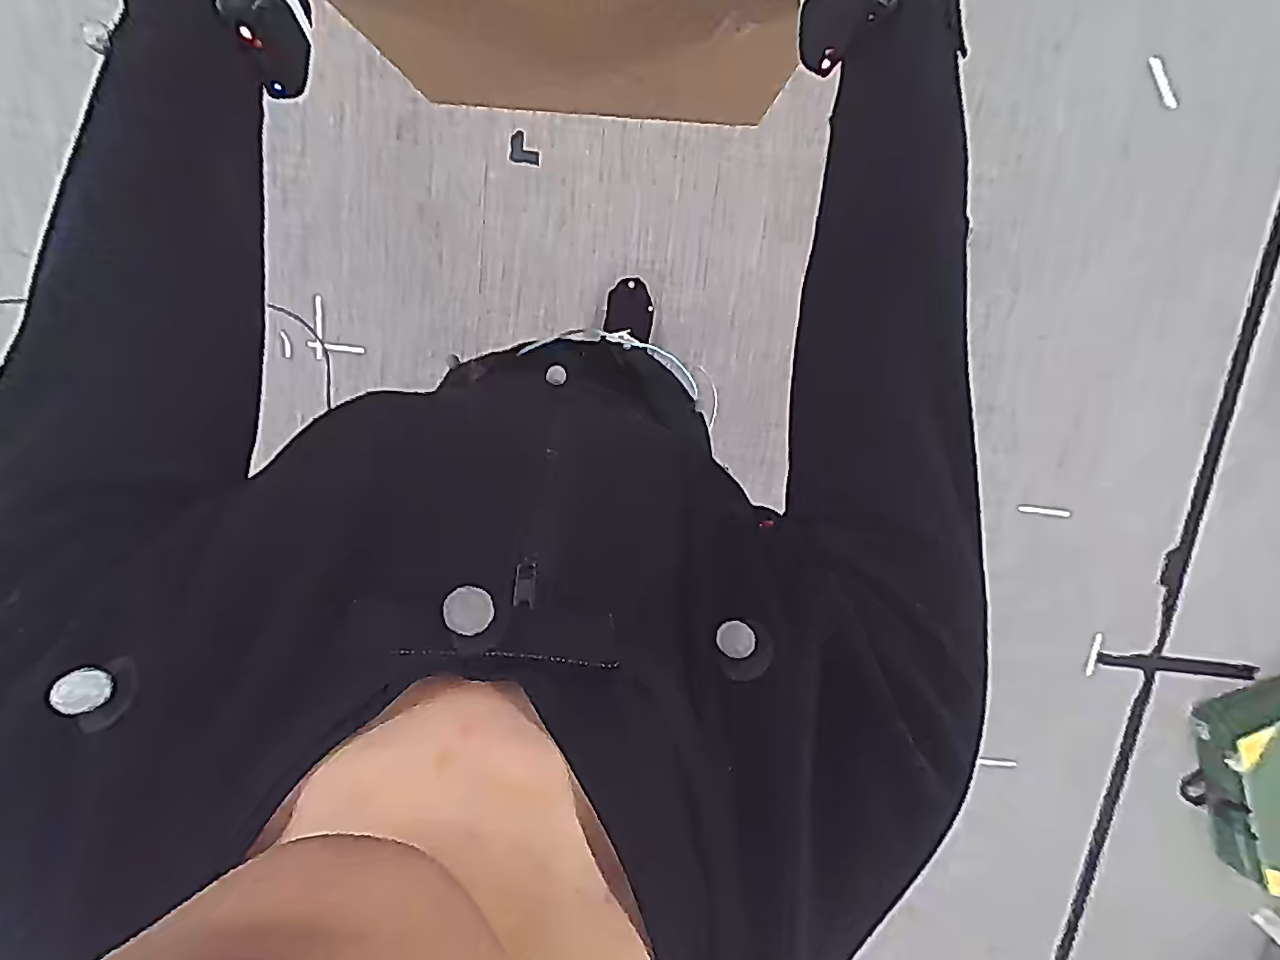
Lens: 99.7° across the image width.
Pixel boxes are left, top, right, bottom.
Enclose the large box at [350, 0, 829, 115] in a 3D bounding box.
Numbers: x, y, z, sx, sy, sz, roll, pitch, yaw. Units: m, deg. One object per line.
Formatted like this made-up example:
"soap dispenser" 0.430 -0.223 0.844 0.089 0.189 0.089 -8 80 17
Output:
"large box" -0.044 -0.556 0.479 0.408 0.320 0.320 3 109 -2
